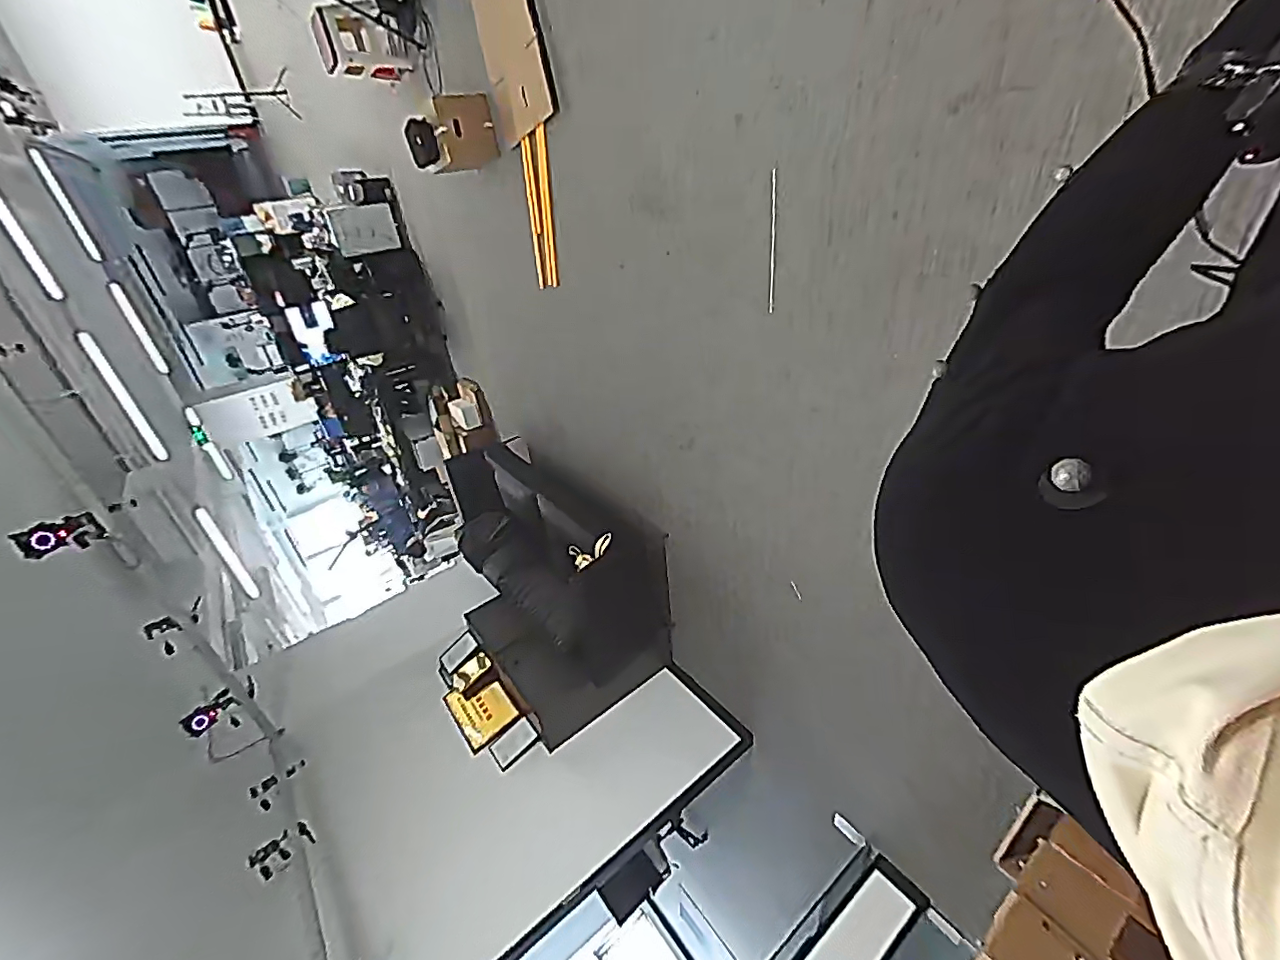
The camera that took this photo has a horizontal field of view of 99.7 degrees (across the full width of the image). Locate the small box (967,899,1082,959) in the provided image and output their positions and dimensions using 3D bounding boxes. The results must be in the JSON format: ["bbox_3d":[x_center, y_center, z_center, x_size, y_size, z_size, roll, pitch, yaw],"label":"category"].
[{"bbox_3d":[0.832,1.066,1.171,0.168,0.176,0.179,35,141,43],"label":"small box"}]
